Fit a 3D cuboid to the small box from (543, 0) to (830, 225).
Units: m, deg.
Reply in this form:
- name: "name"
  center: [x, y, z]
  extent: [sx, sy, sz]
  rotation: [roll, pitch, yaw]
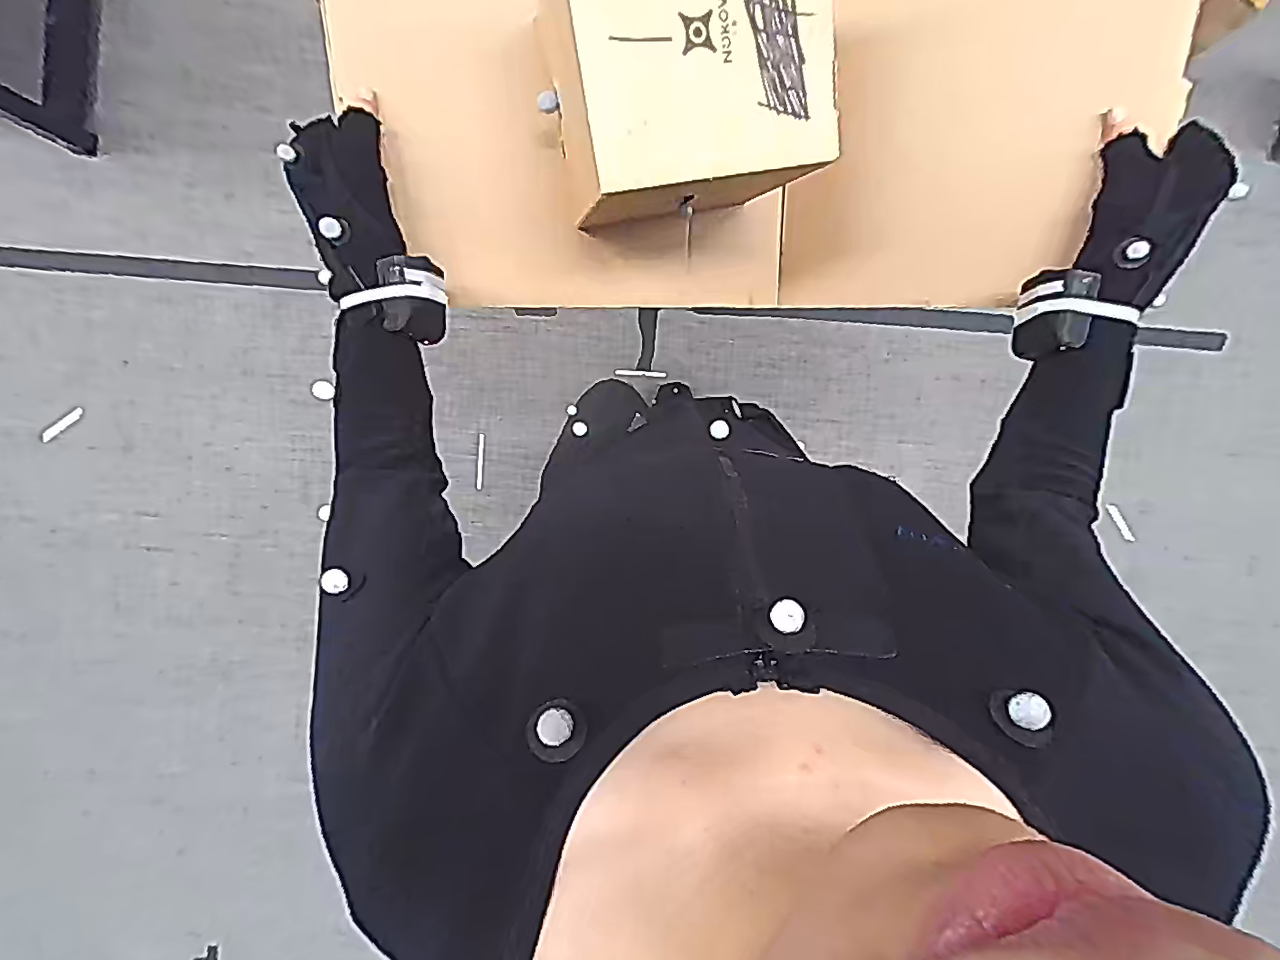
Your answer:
- name: "small box"
  center: [0.027, -0.311, 0.429]
  extent: [0.179, 0.176, 0.168]
  rotation: [-13, 109, -8]
